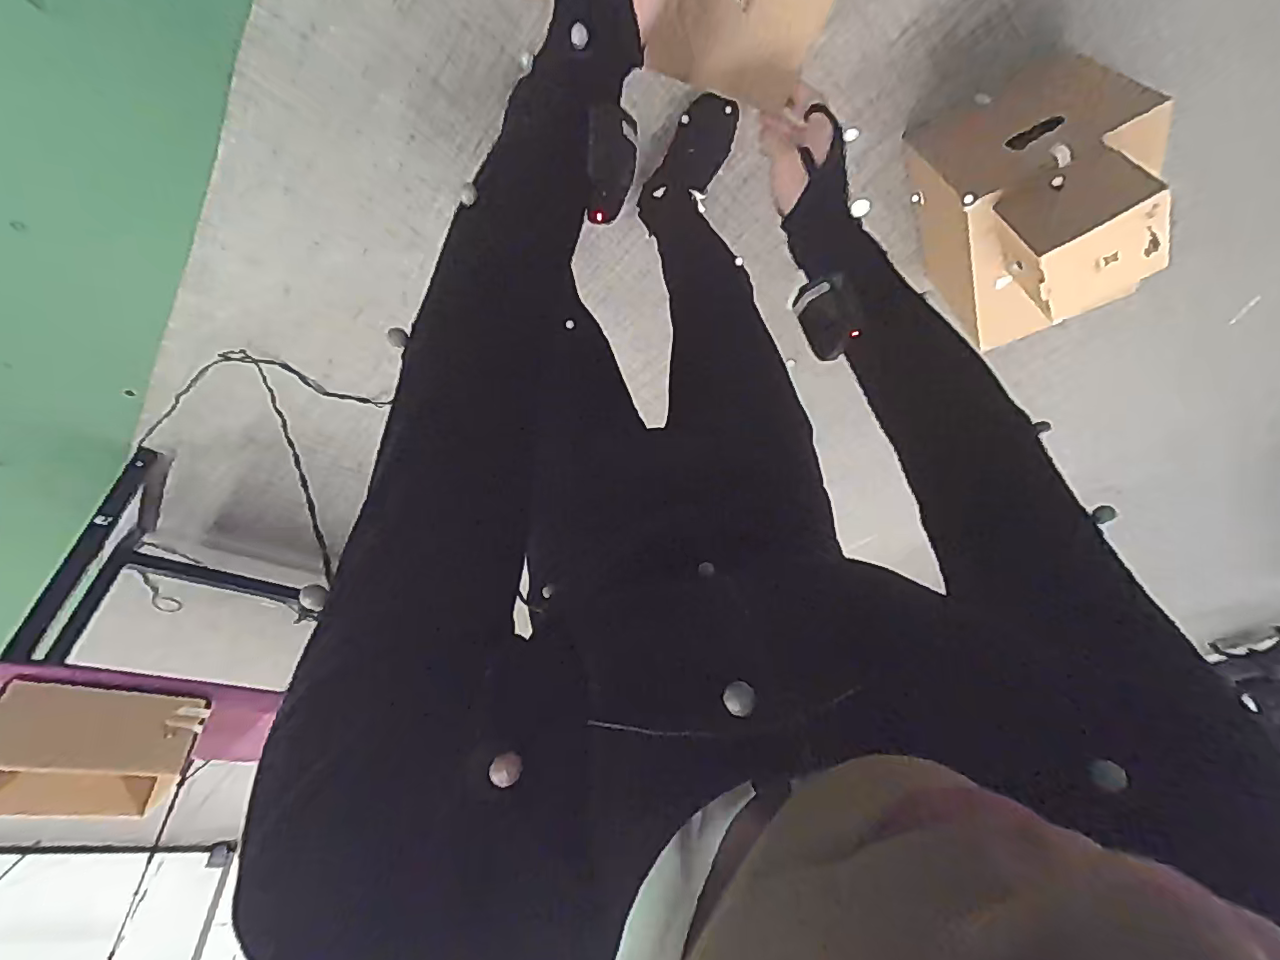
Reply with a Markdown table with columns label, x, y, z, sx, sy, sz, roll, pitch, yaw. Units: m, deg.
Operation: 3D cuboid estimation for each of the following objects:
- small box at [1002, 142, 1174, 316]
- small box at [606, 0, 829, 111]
| label | x | y | z | sx | sy | sz | roll | pitch | yaw |
| --- | --- | --- | --- | --- | --- | --- | --- | --- | --- |
| small box | 0.752 | -0.426 | 0.925 | 0.179 | 0.176 | 0.168 | -27 | 137 | 27 |
| small box | 0.076 | -0.492 | 0.503 | 0.179 | 0.176 | 0.168 | 11 | 138 | -20 |
